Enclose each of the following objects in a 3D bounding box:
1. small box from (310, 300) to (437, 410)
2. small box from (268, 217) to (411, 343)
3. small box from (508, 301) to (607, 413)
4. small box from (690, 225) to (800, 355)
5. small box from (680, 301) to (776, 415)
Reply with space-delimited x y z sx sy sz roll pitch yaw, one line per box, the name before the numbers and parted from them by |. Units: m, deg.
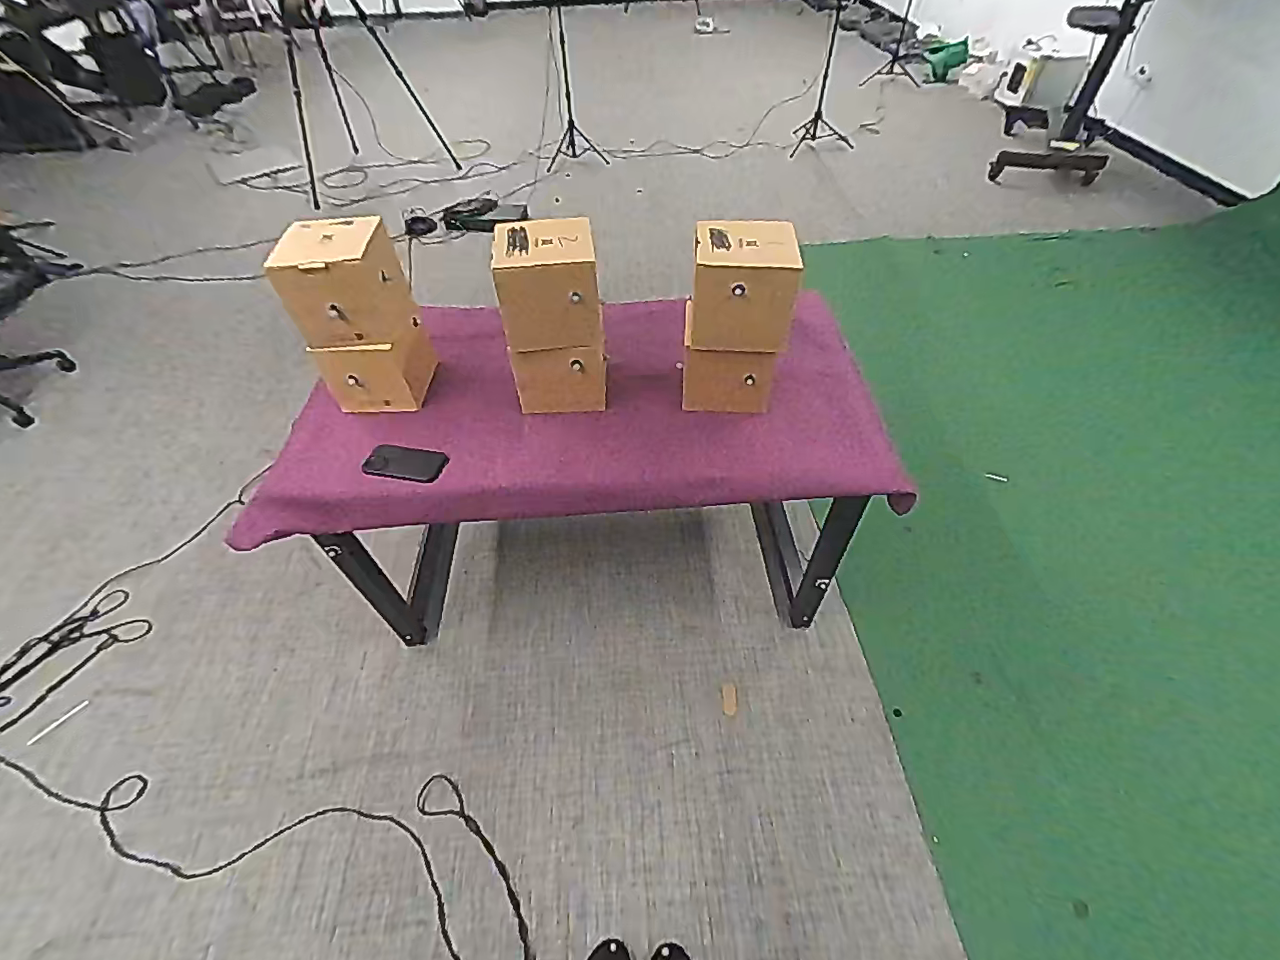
small box | -0.553 -0.262 1.153 0.168 0.176 0.179 -1 49 1
small box | -0.557 -0.375 1.034 0.168 0.176 0.179 -4 50 -3
small box | -0.162 -0.255 1.135 0.179 0.176 0.168 -1 49 1
small box | 0.183 -0.345 0.989 0.179 0.176 0.168 4 50 4
small box | 0.178 -0.250 1.123 0.179 0.176 0.168 3 49 5
